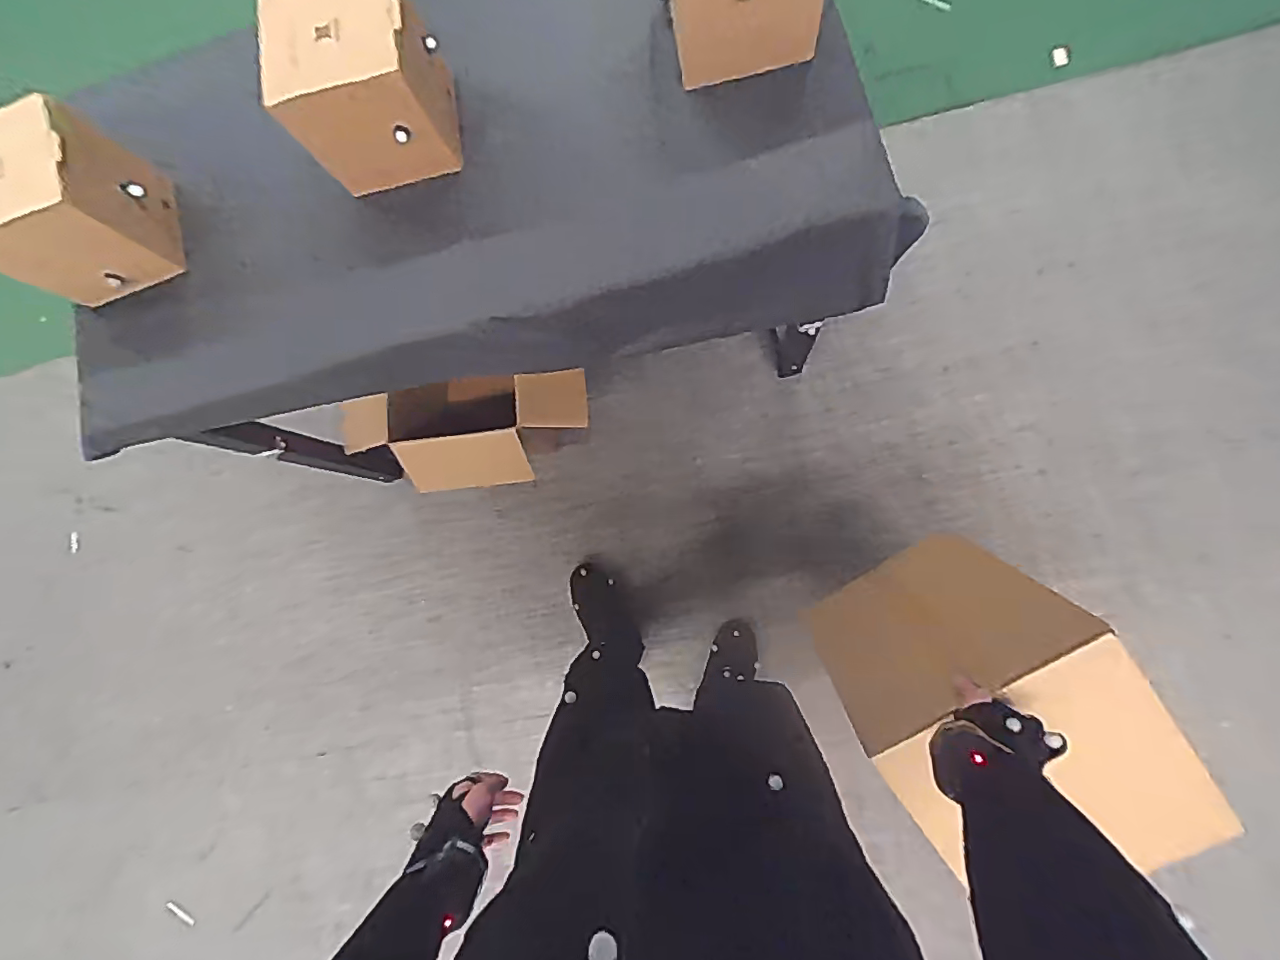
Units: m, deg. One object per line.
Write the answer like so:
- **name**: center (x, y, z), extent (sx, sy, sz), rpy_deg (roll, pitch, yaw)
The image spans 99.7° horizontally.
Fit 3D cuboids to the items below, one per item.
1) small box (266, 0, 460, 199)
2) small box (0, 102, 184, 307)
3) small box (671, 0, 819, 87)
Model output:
- **small box**: center (-0.358, -0.519, 0.729), extent (0.179, 0.176, 0.168), rpy_deg (-11, 79, 8)
- **small box**: center (-0.796, -0.376, 0.768), extent (0.179, 0.176, 0.168), rpy_deg (-19, 79, 4)
- **small box**: center (0.125, -0.638, 0.673), extent (0.179, 0.176, 0.168), rpy_deg (-10, 81, 6)
